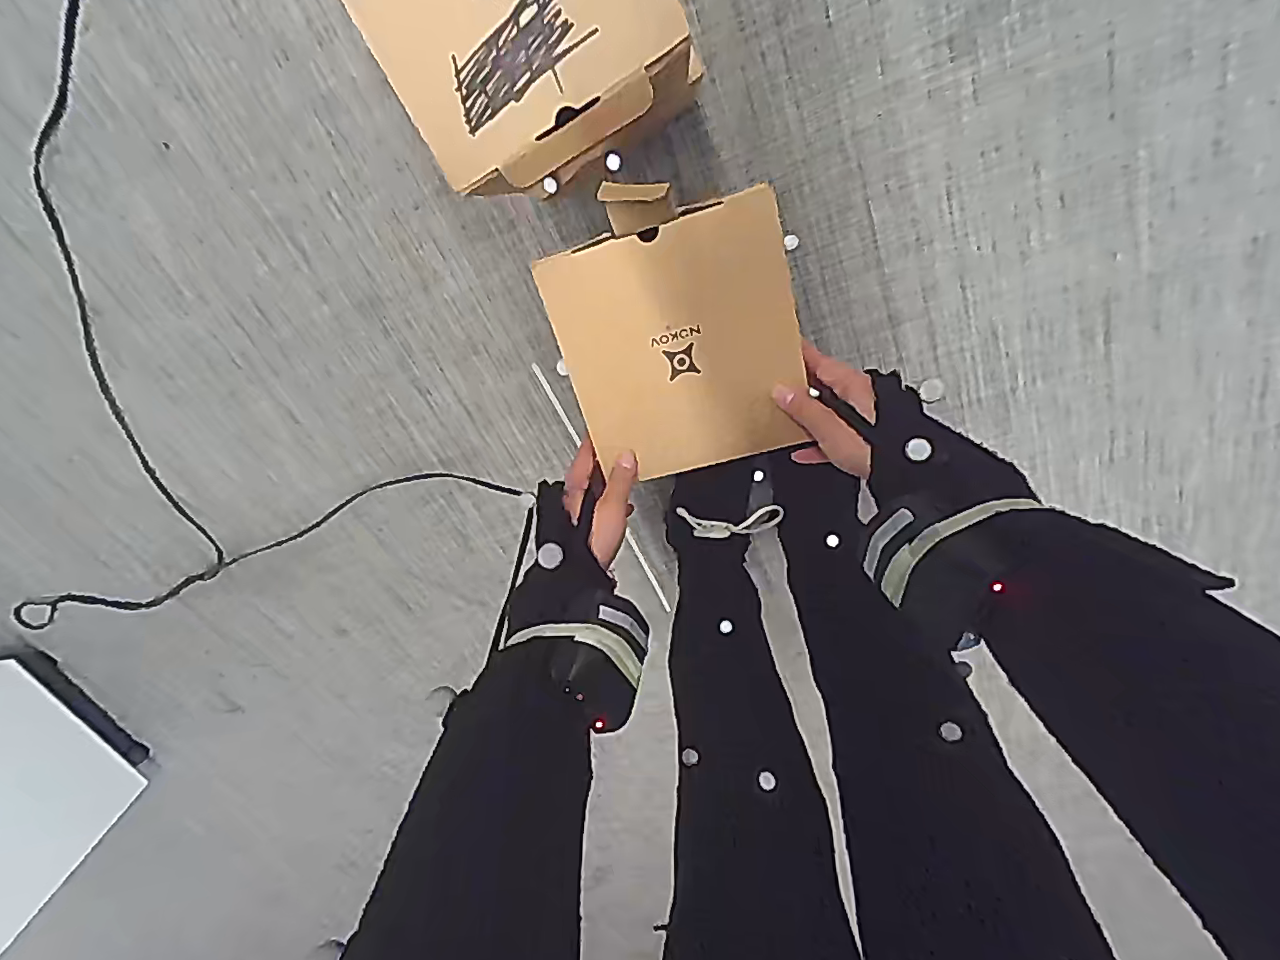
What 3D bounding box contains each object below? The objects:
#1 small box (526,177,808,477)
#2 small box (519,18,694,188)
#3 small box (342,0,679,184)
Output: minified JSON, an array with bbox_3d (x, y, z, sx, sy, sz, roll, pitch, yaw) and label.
[{"bbox_3d":[0.031,-0.128,0.452,0.168,0.176,0.179,-14,112,11],"label":"small box"},{"bbox_3d":[-0.063,-0.398,0.501,0.179,0.176,0.168,-28,114,18],"label":"small box"},{"bbox_3d":[-0.081,-0.323,0.355,0.168,0.176,0.179,-23,114,15],"label":"small box"}]
